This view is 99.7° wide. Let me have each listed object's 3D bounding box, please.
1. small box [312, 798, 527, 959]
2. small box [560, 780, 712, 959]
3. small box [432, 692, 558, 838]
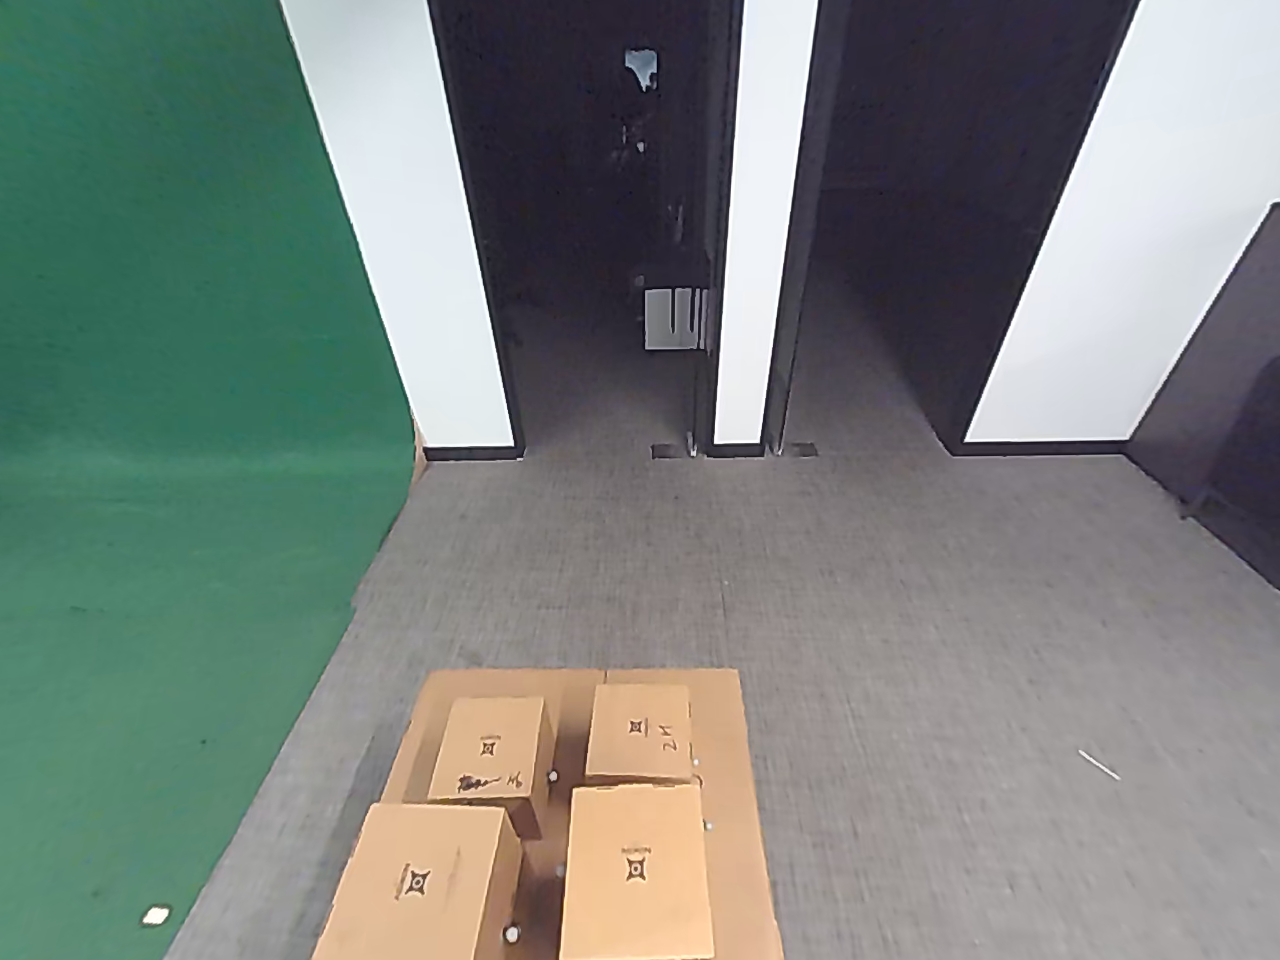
[{"bbox_3d":[-0.254,0.522,0.673,0.179,0.176,0.168,1,39,3],"label":"small box"},{"bbox_3d":[0.001,0.506,0.679,0.168,0.176,0.179,-3,37,1],"label":"small box"},{"bbox_3d":[-0.244,0.504,0.961,0.168,0.176,0.179,-3,36,2],"label":"small box"}]
